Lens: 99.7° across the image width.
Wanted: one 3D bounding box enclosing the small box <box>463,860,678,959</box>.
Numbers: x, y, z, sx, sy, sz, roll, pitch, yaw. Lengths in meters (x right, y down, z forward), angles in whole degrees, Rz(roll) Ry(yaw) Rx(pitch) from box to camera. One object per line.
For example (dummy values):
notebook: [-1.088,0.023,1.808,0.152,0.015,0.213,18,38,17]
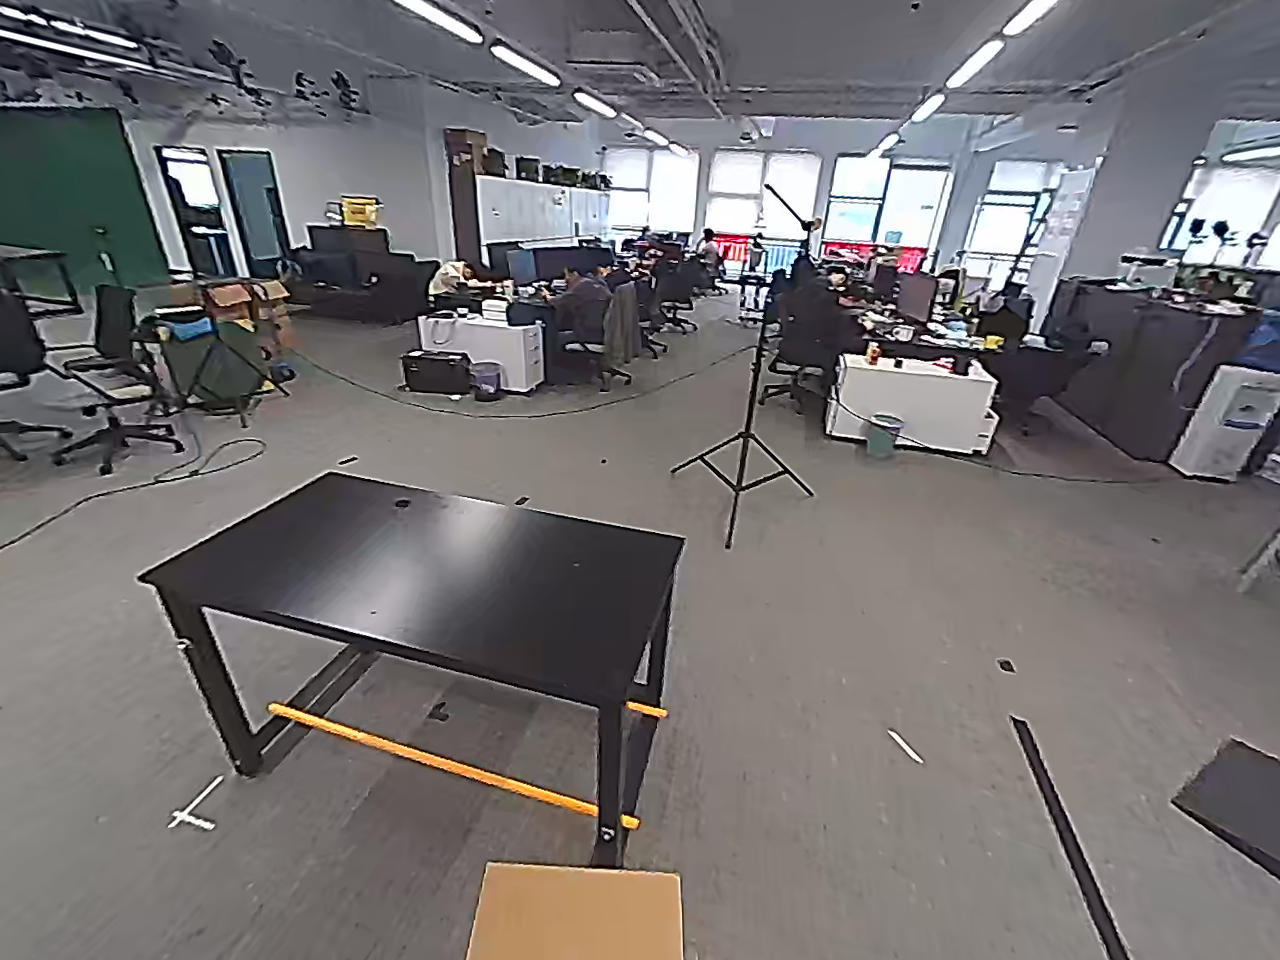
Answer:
small box: [-0.061,0.443,0.434,0.168,0.176,0.179,5,35,-2]
